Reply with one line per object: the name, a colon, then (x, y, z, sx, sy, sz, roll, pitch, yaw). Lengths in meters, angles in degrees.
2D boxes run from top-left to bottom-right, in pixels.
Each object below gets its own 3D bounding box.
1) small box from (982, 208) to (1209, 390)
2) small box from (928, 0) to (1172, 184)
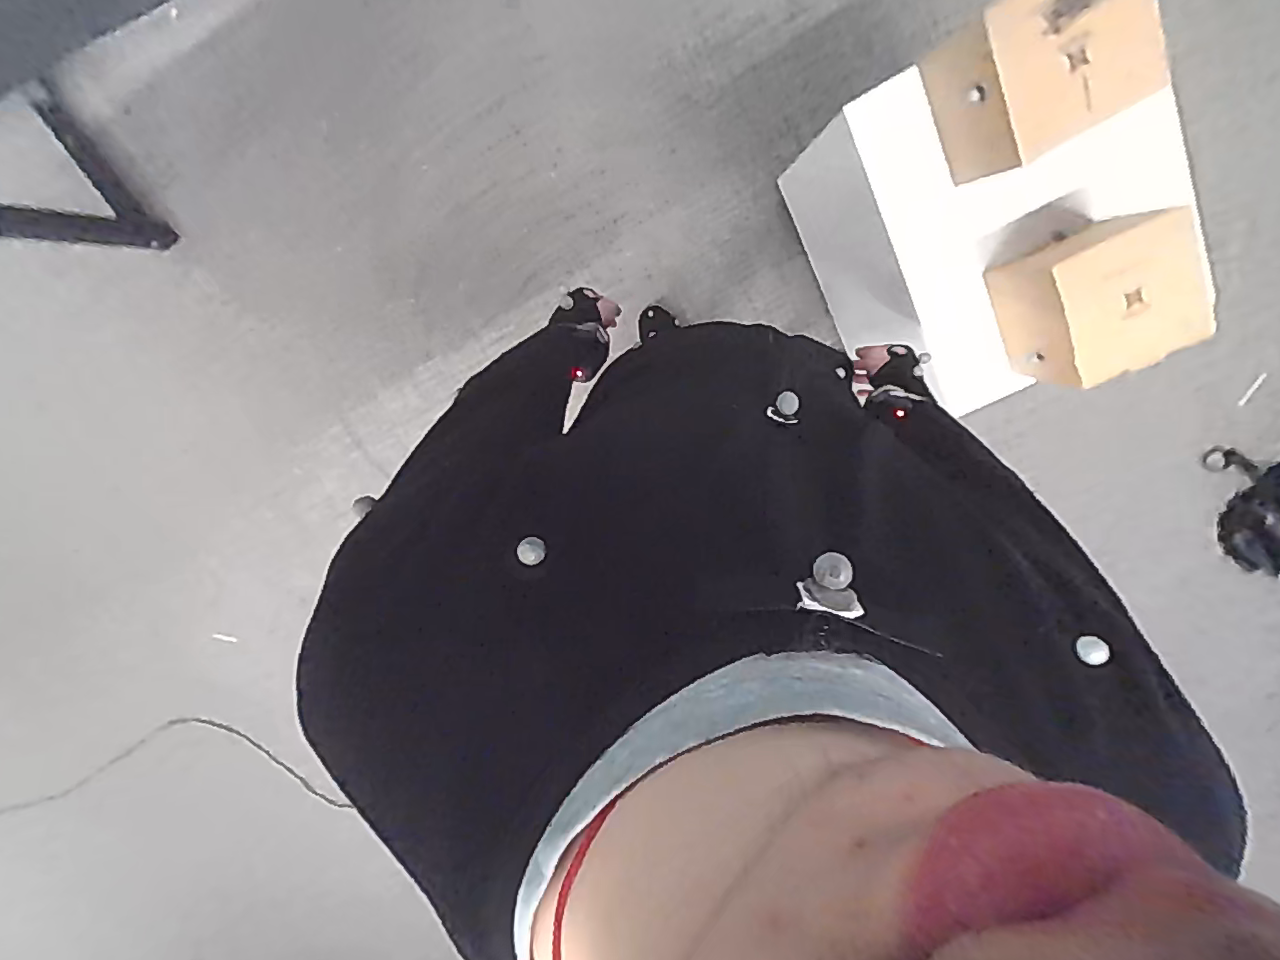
small box: (0.628, -0.251, 0.765, 0.168, 0.176, 0.179, -25, 105, 10)
small box: (0.493, -0.503, 0.675, 0.168, 0.176, 0.179, -25, 109, 12)
